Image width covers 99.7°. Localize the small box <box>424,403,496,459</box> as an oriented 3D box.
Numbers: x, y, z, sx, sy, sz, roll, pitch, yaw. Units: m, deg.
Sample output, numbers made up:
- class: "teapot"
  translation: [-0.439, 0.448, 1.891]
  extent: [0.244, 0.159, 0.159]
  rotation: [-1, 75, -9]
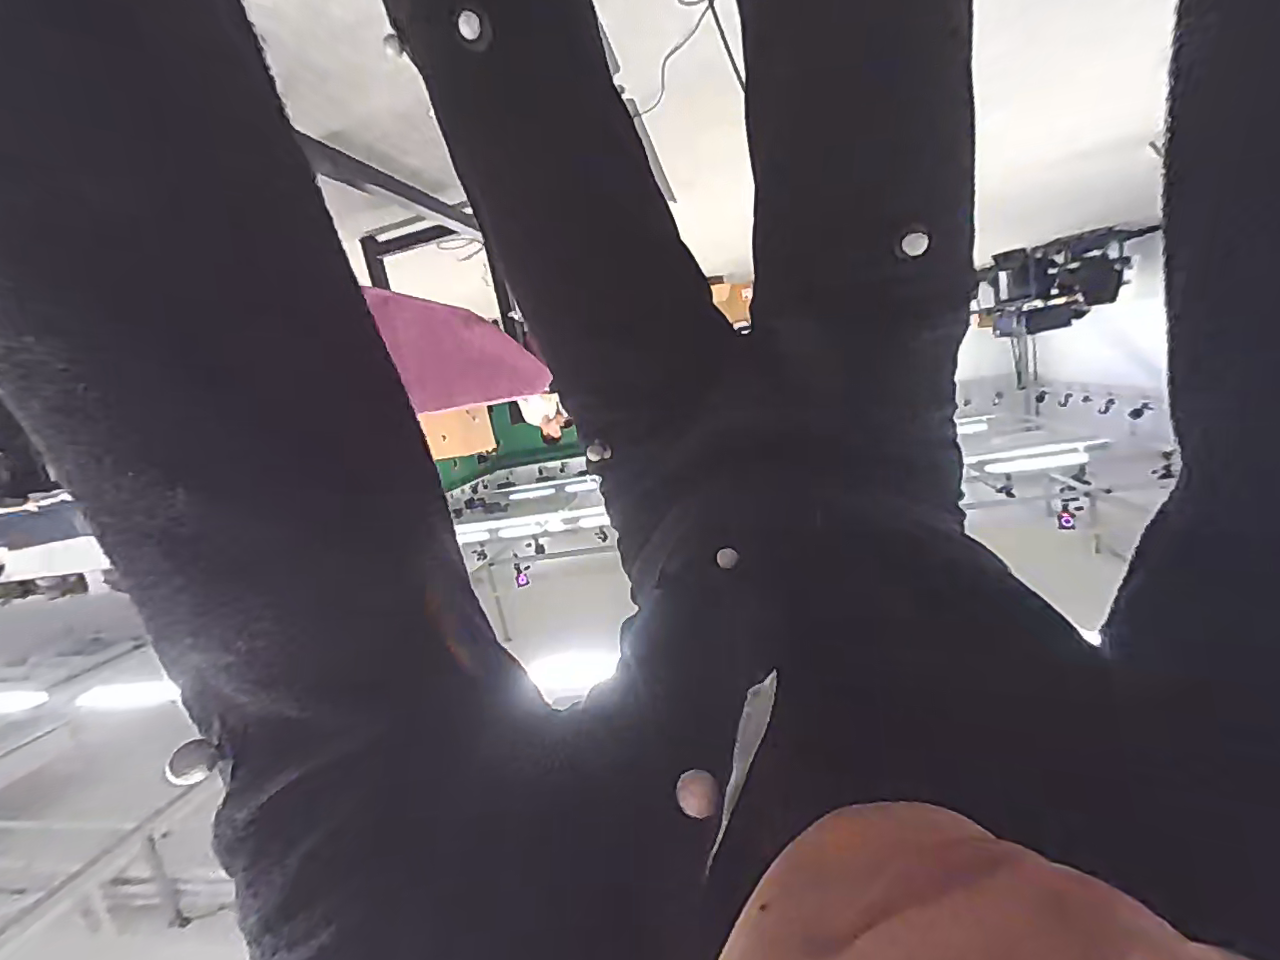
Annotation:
- class: "small box"
  translation: [-0.658, -0.181, 1.962]
  extent: [0.179, 0.176, 0.168]
  rotation: [-7, -168, 27]
